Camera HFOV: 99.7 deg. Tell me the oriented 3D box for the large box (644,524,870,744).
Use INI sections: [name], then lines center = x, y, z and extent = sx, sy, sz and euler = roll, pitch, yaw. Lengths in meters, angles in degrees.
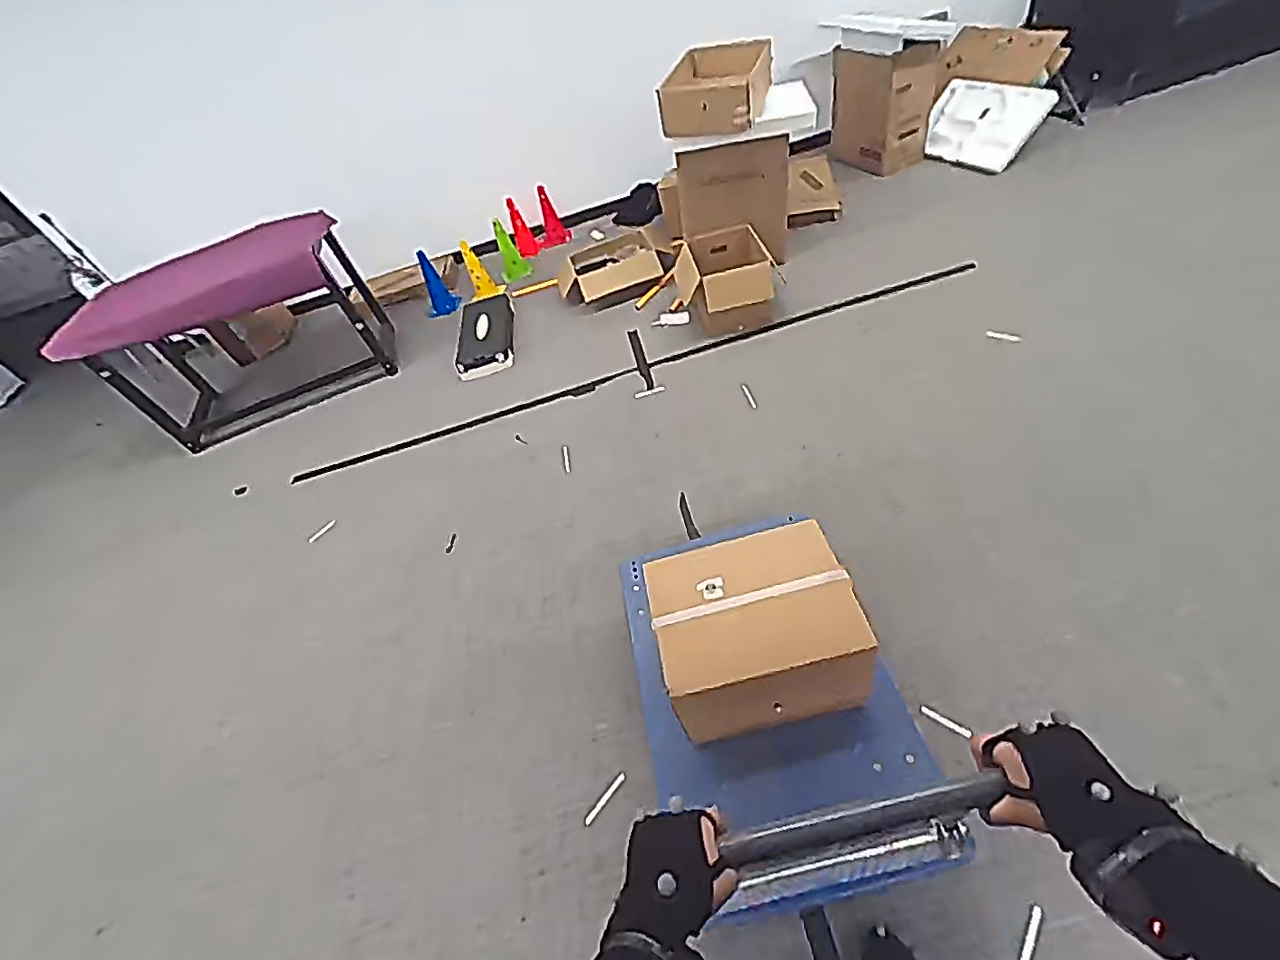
[large box]
center = 0.259, 0.359, 1.241
extent = 0.408, 0.320, 0.320
euler = -16, 45, 3
